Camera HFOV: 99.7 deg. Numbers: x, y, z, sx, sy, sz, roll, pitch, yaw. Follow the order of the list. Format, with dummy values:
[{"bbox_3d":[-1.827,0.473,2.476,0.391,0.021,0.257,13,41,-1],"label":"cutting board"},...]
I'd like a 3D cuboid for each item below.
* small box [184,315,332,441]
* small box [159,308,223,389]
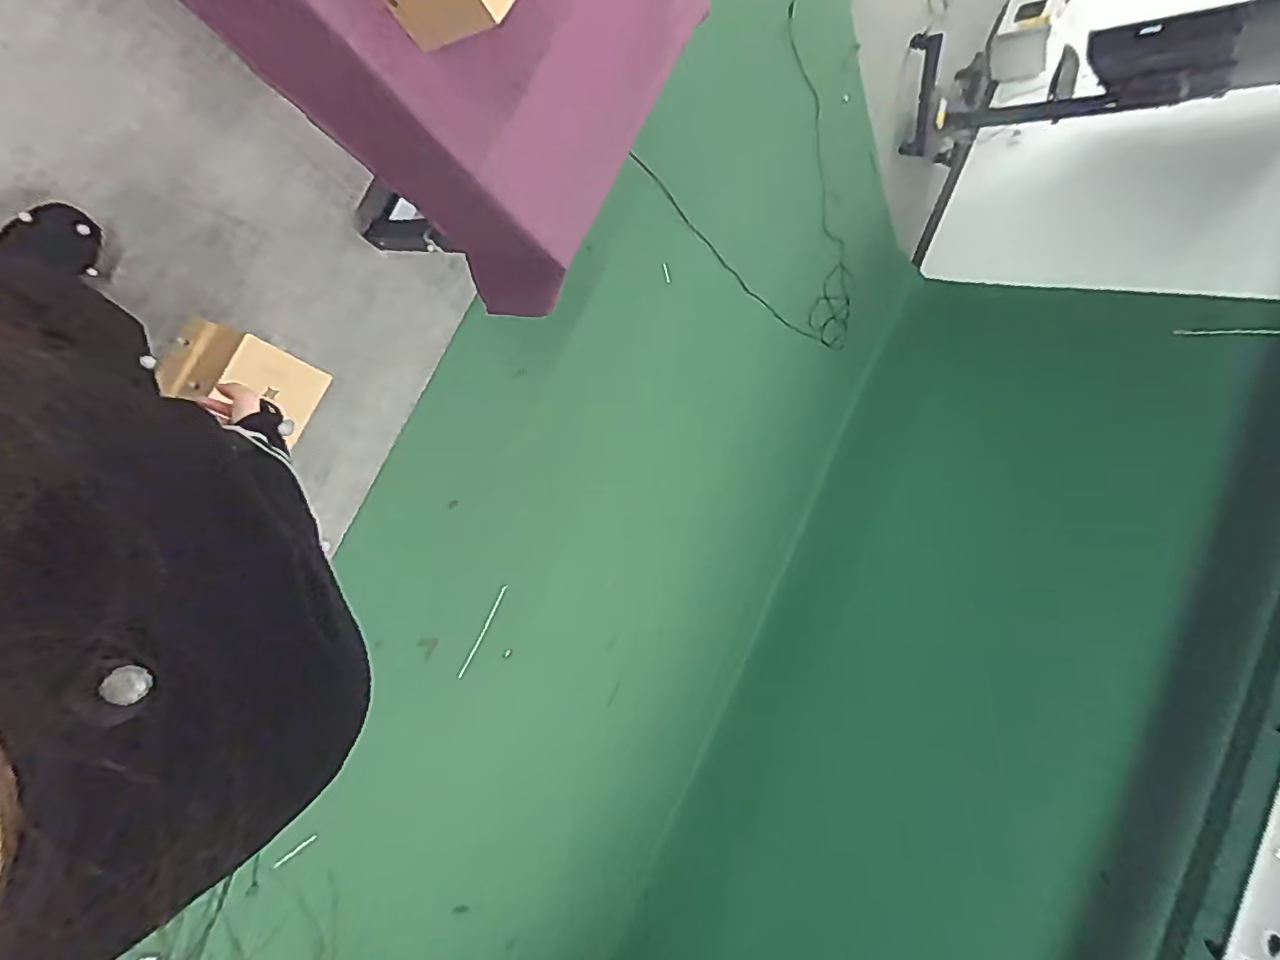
[{"bbox_3d":[-0.764,-0.205,1.078,0.168,0.176,0.179,35,79,-54],"label":"small box"},{"bbox_3d":[-0.890,-0.255,1.169,0.179,0.176,0.168,31,83,-53],"label":"small box"}]
